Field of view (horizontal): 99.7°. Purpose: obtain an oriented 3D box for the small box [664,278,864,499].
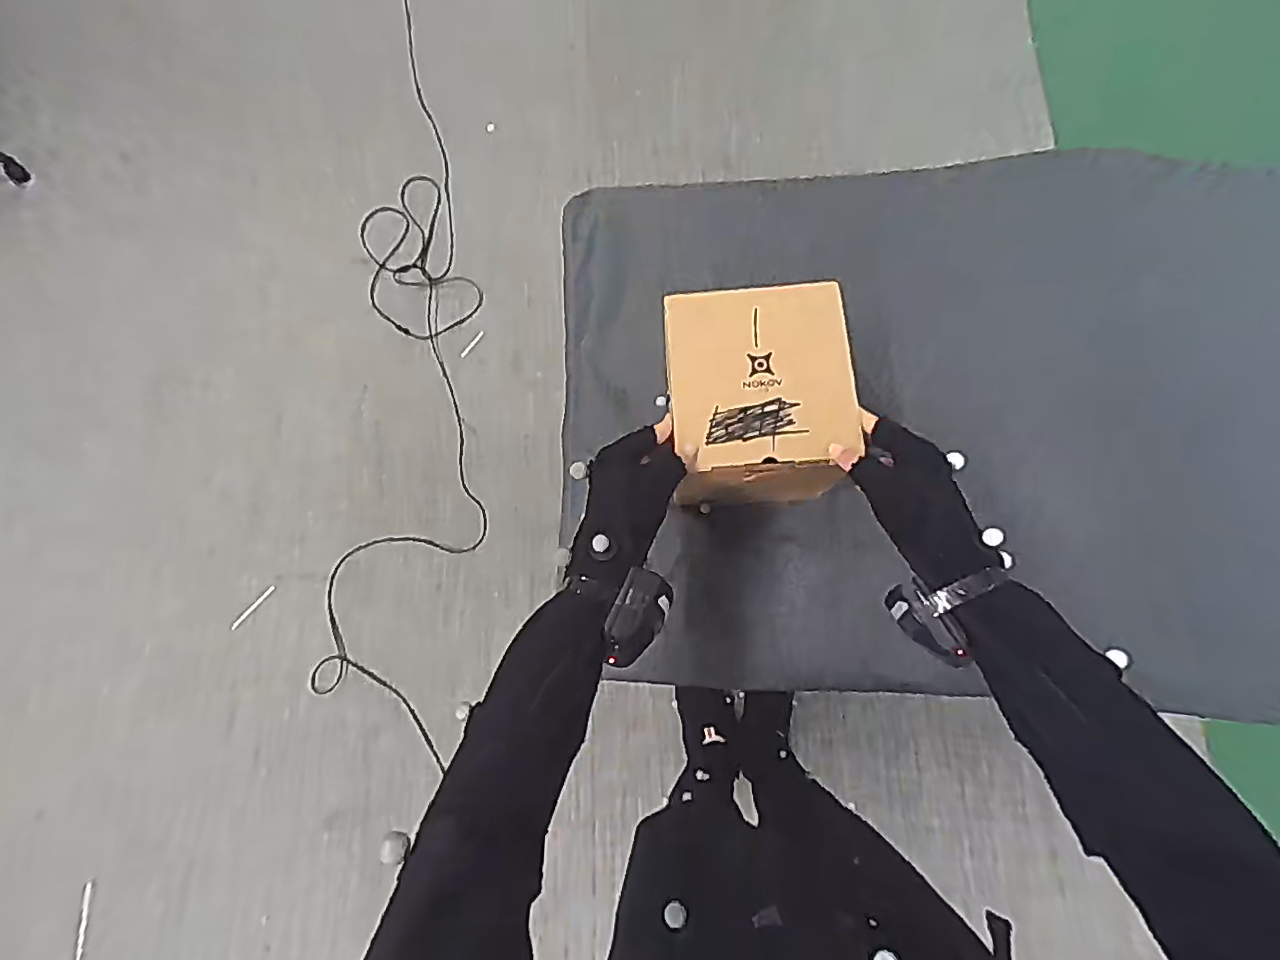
[{"bbox_3d":[0.113,-0.079,0.560,0.168,0.176,0.179,-4,76,3],"label":"small box"}]
